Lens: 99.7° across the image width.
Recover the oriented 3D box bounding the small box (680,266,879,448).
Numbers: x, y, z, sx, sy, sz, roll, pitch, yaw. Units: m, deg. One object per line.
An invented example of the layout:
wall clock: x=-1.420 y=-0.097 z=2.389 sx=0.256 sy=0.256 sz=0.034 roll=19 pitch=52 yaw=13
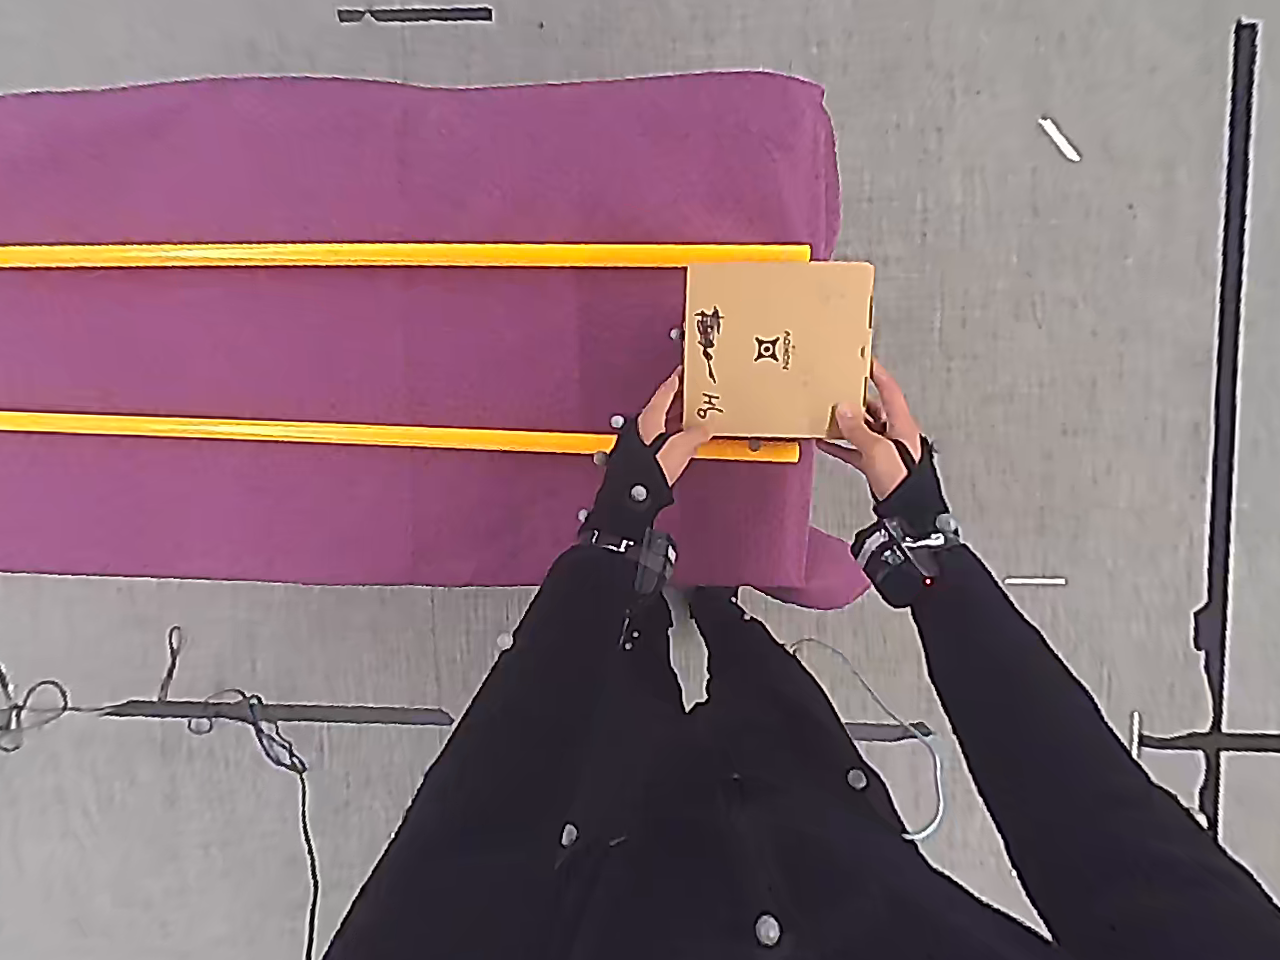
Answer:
small box: x=0.135 y=-0.123 z=0.588 sx=0.179 sy=0.176 sz=0.168 roll=2 pitch=95 yaw=4
